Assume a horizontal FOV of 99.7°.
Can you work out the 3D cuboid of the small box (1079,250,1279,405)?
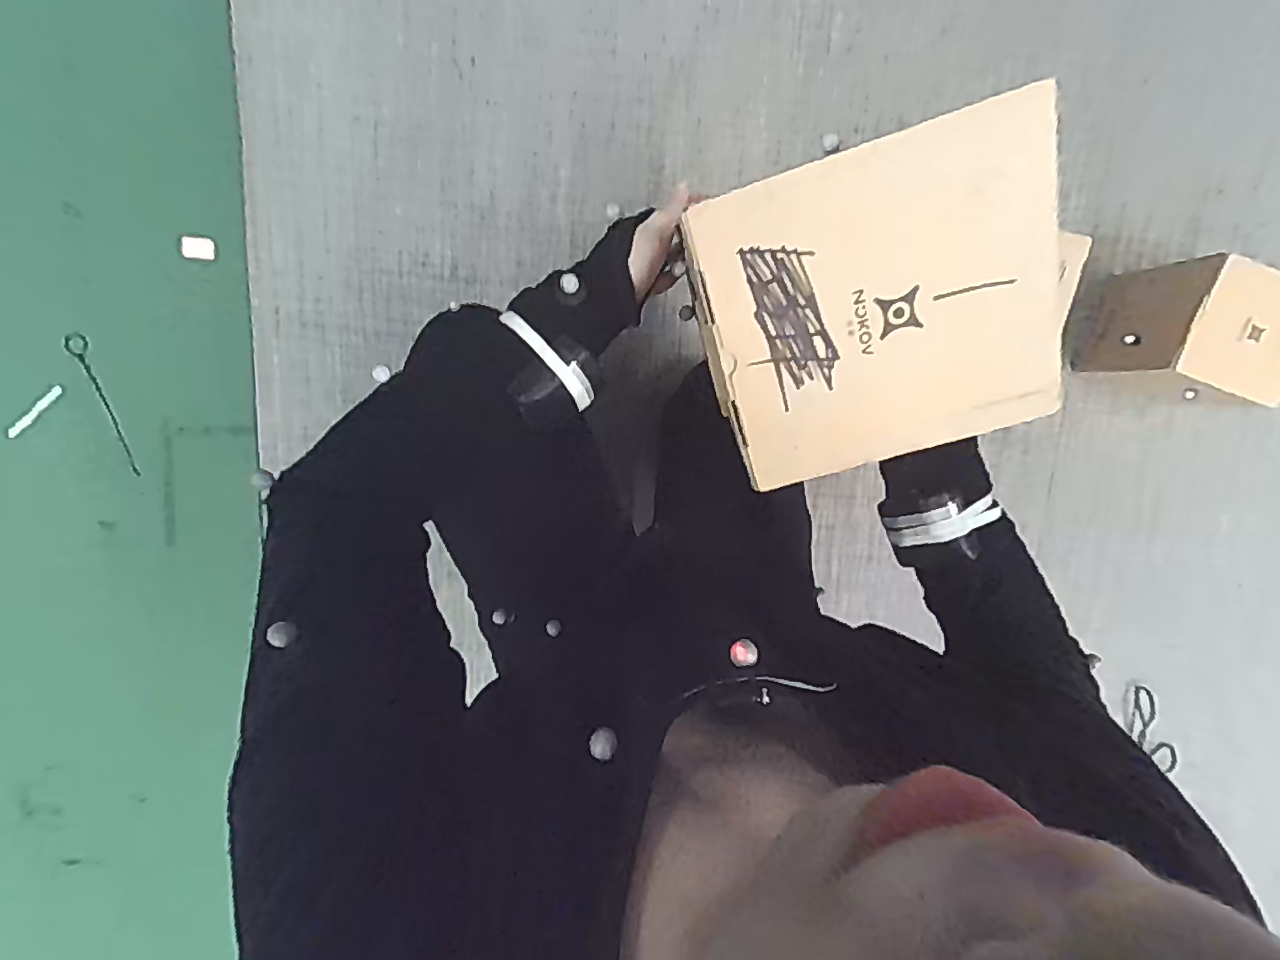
[{"bbox_3d":[0.830,-0.219,0.816,0.179,0.176,0.168,18,100,-6],"label":"small box"}]
